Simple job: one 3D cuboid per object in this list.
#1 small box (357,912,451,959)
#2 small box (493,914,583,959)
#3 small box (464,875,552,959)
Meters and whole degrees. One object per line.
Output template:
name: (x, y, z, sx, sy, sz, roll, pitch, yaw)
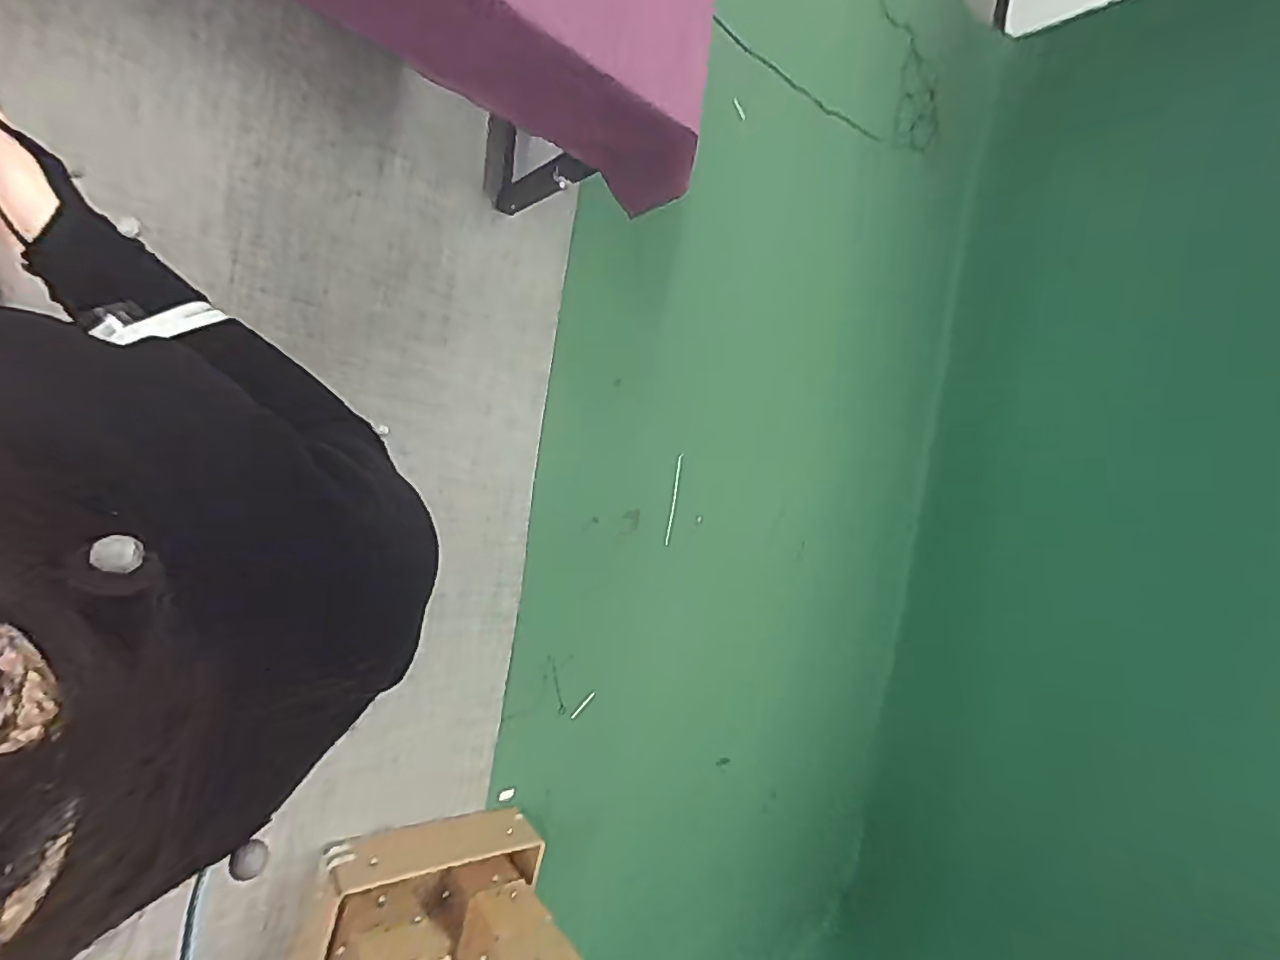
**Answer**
small box: (-0.593, 1.210, 1.325, 0.168, 0.176, 0.179, 16, 86, -44)
small box: (-0.280, 1.289, 1.405, 0.179, 0.176, 0.168, 15, 86, -42)
small box: (-0.381, 1.279, 1.536, 0.168, 0.176, 0.179, 17, 84, -42)
